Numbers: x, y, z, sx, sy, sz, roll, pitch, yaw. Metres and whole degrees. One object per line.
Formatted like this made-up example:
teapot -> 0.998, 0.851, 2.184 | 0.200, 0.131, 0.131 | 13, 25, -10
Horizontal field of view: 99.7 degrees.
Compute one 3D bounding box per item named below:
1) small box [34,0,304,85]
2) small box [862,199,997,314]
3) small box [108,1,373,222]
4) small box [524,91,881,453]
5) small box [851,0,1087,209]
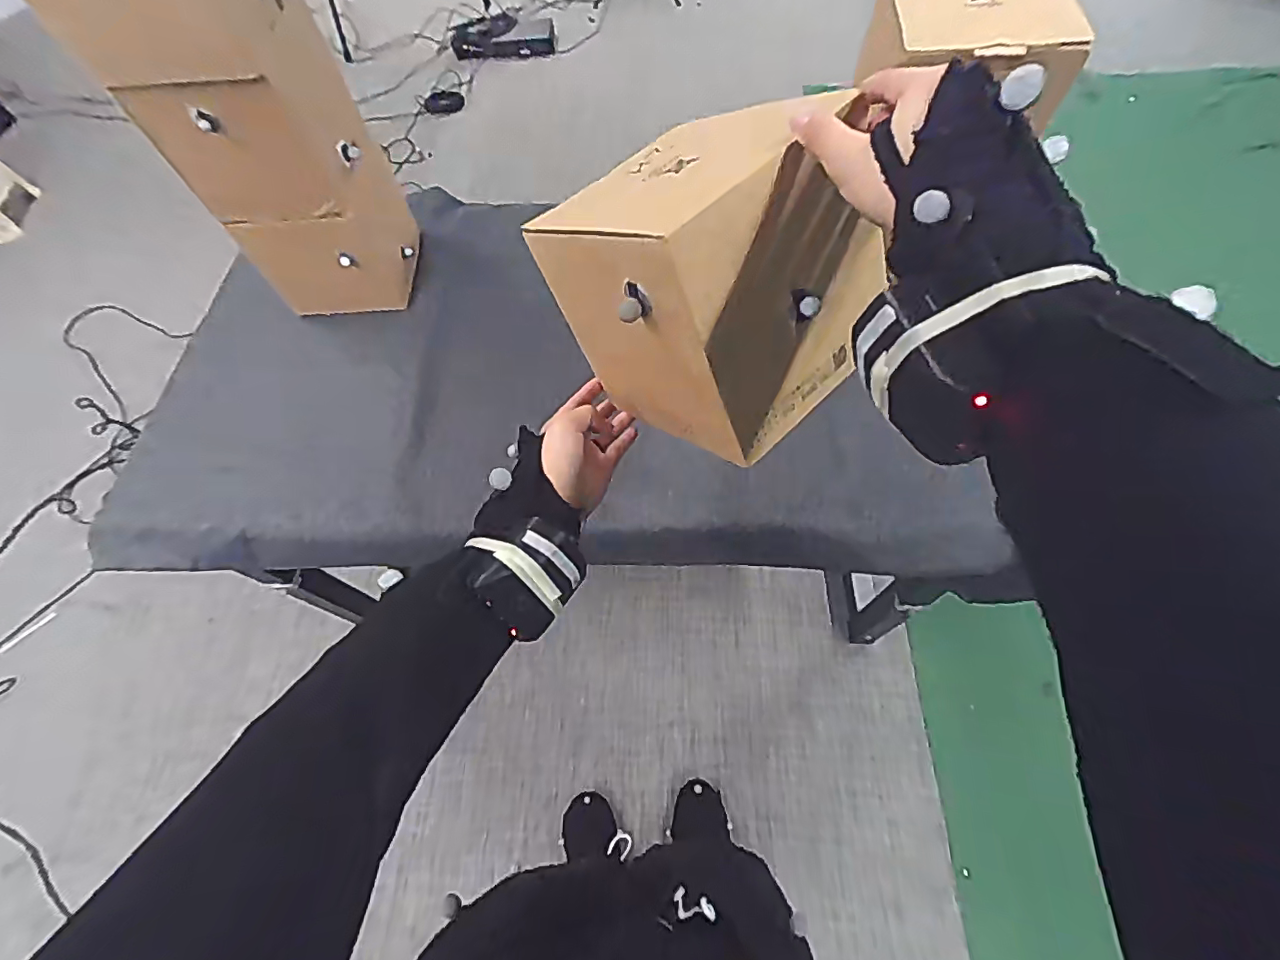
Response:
small box -> -0.471, -0.508, 0.514 | 0.179, 0.176, 0.168 | -1, 64, 2
small box -> 0.348, -0.356, 0.747 | 0.168, 0.176, 0.179 | 2, 64, 5
small box -> -0.465, -0.442, 0.665 | 0.179, 0.176, 0.168 | -3, 64, 1
small box -> 0.053, -0.143, 0.399 | 0.168, 0.176, 0.179 | -41, 40, -15
small box -> 0.334, -0.426, 0.599 | 0.168, 0.176, 0.179 | 2, 64, 5
